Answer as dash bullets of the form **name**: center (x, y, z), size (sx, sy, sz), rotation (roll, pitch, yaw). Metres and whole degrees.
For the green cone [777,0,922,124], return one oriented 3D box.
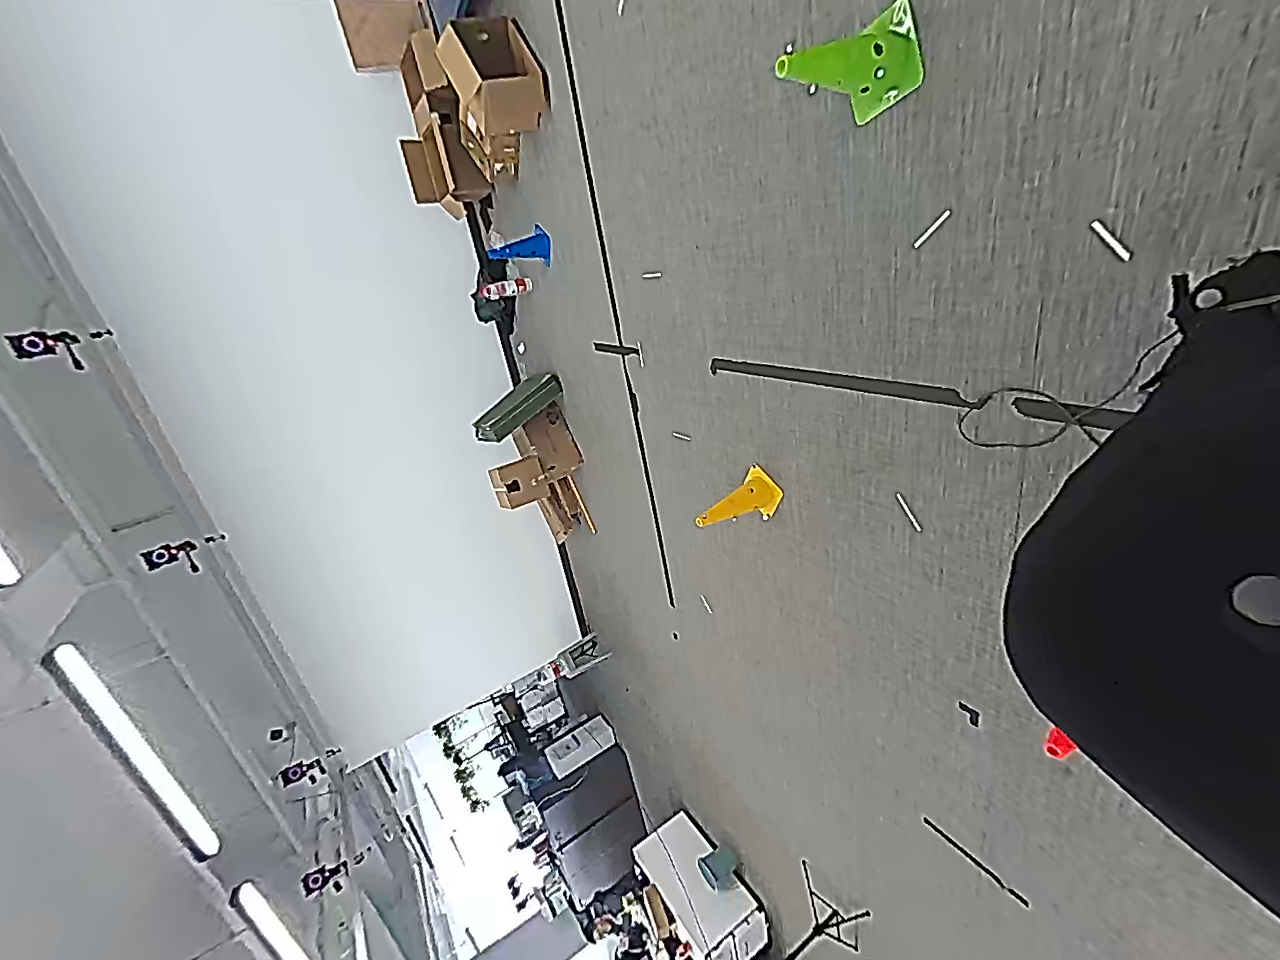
- **green cone**: center (0.467, -0.995, 1.298), size (0.202, 0.368, 0.200), rotation (-1, 110, 62)
